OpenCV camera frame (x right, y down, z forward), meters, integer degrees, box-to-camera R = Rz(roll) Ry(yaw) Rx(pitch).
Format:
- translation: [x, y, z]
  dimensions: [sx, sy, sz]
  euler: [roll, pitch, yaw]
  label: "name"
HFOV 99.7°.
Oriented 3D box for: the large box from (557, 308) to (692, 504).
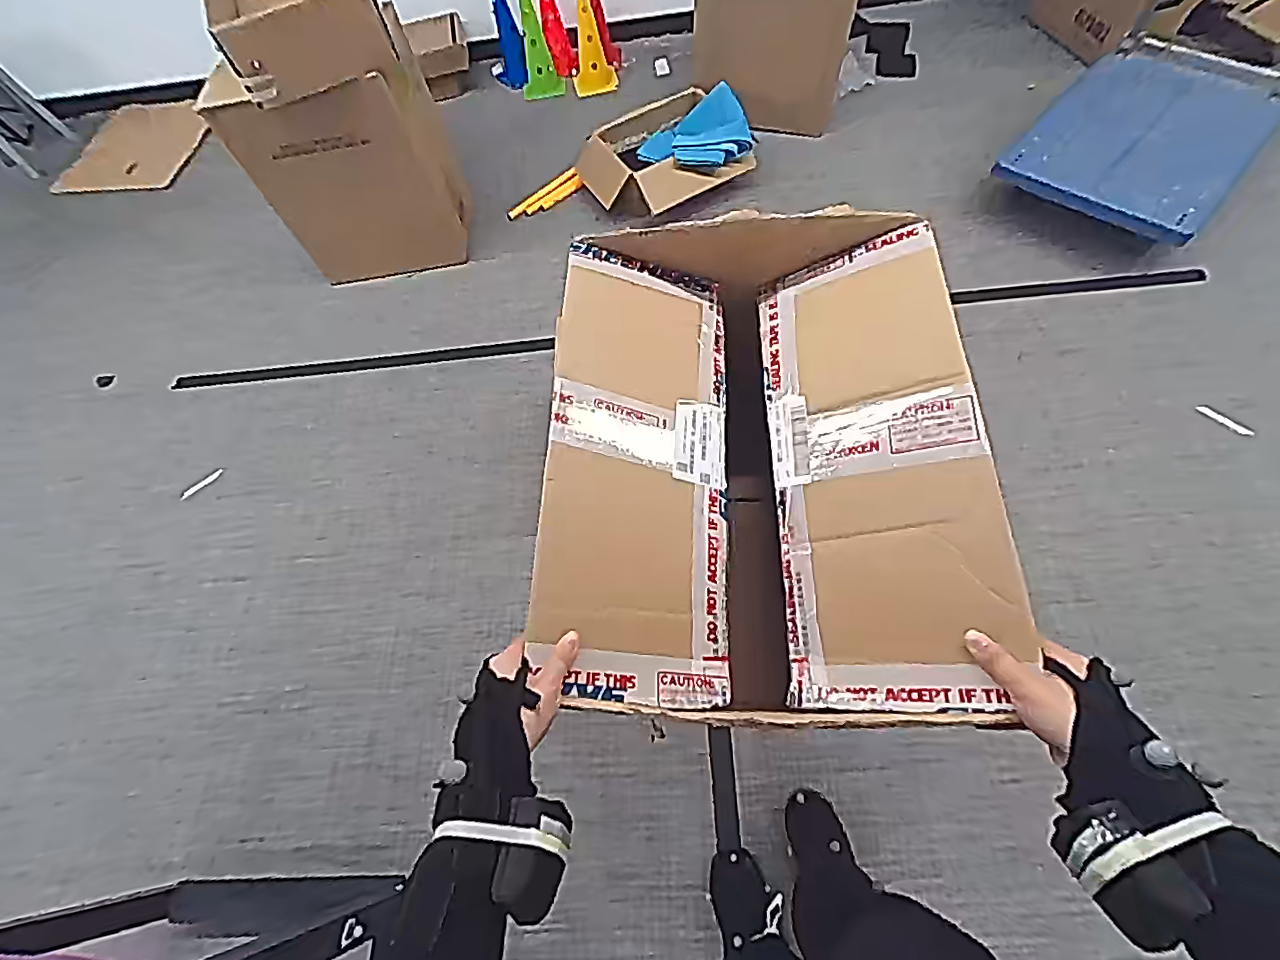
- translation: [-0.036, -0.188, 1.443]
  dimensions: [0.320, 0.320, 0.408]
  euler: [-6, 62, 4]
  label: "large box"
